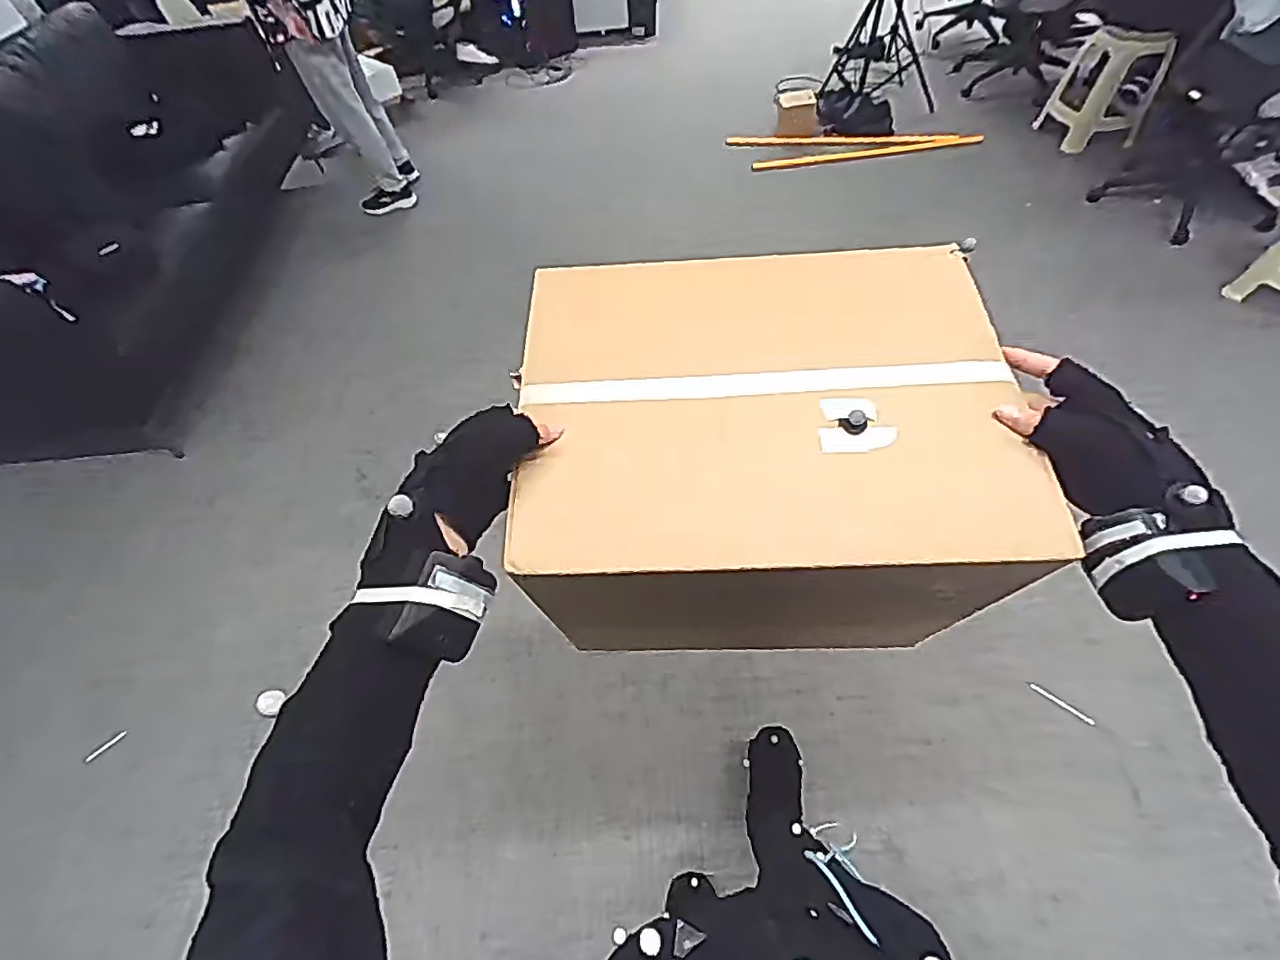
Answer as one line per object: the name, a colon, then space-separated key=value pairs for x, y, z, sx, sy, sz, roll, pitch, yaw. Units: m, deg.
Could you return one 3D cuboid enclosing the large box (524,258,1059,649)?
large box: x=0.111 y=-0.006 z=0.598 sx=0.408 sy=0.320 sz=0.320 roll=-2 pitch=62 yaw=2
